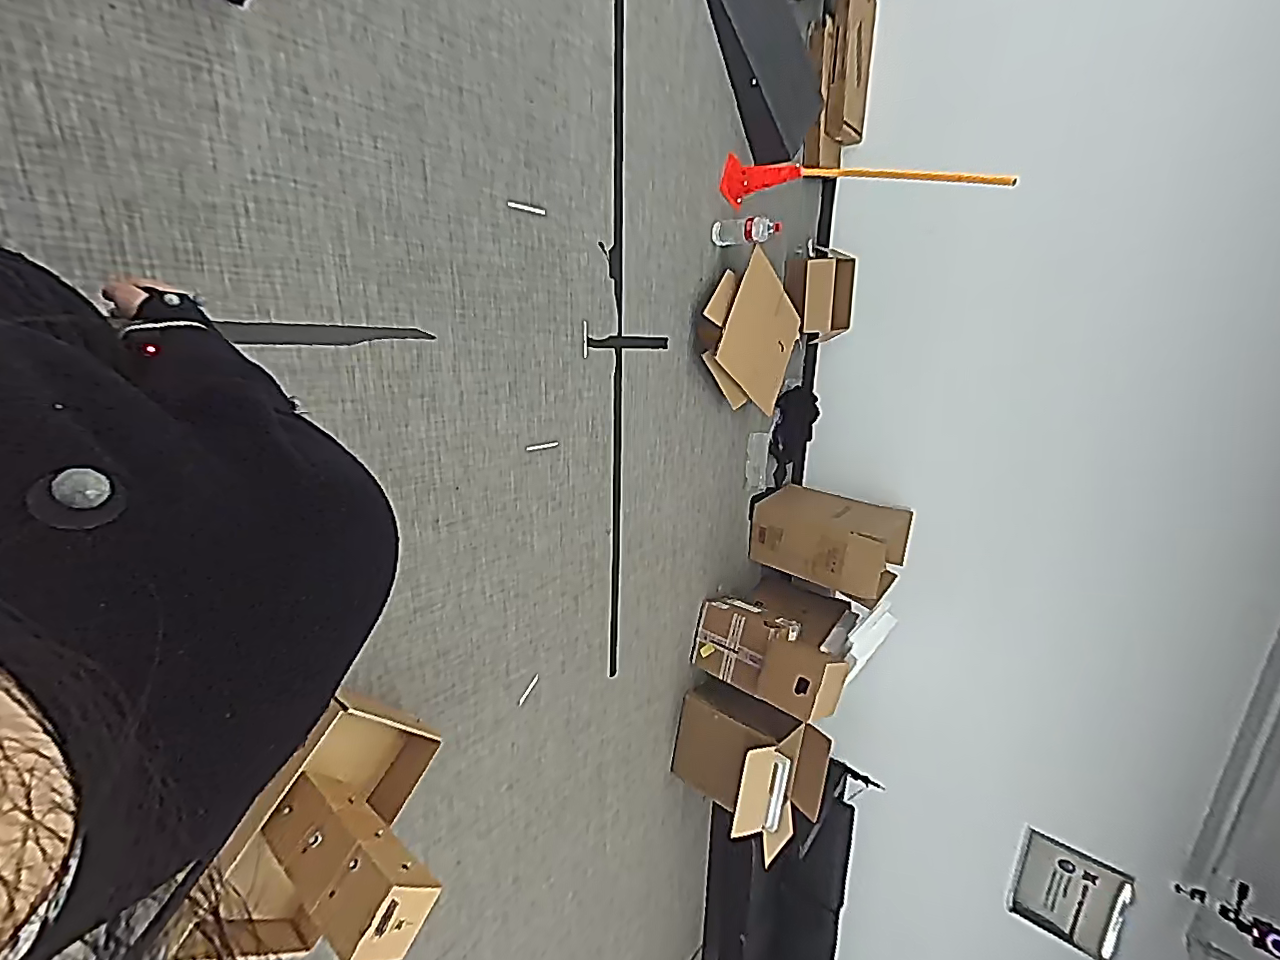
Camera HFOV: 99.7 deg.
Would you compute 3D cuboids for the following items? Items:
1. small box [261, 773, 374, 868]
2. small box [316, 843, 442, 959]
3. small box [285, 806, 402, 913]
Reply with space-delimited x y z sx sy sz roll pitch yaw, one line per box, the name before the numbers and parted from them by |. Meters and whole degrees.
small box | -0.883 0.938 1.484 0.168 0.176 0.179 -58 140 -24
small box | -0.626 1.005 1.294 0.168 0.176 0.179 -59 142 -22
small box | -0.757 0.971 1.388 0.168 0.176 0.179 -59 140 -23
